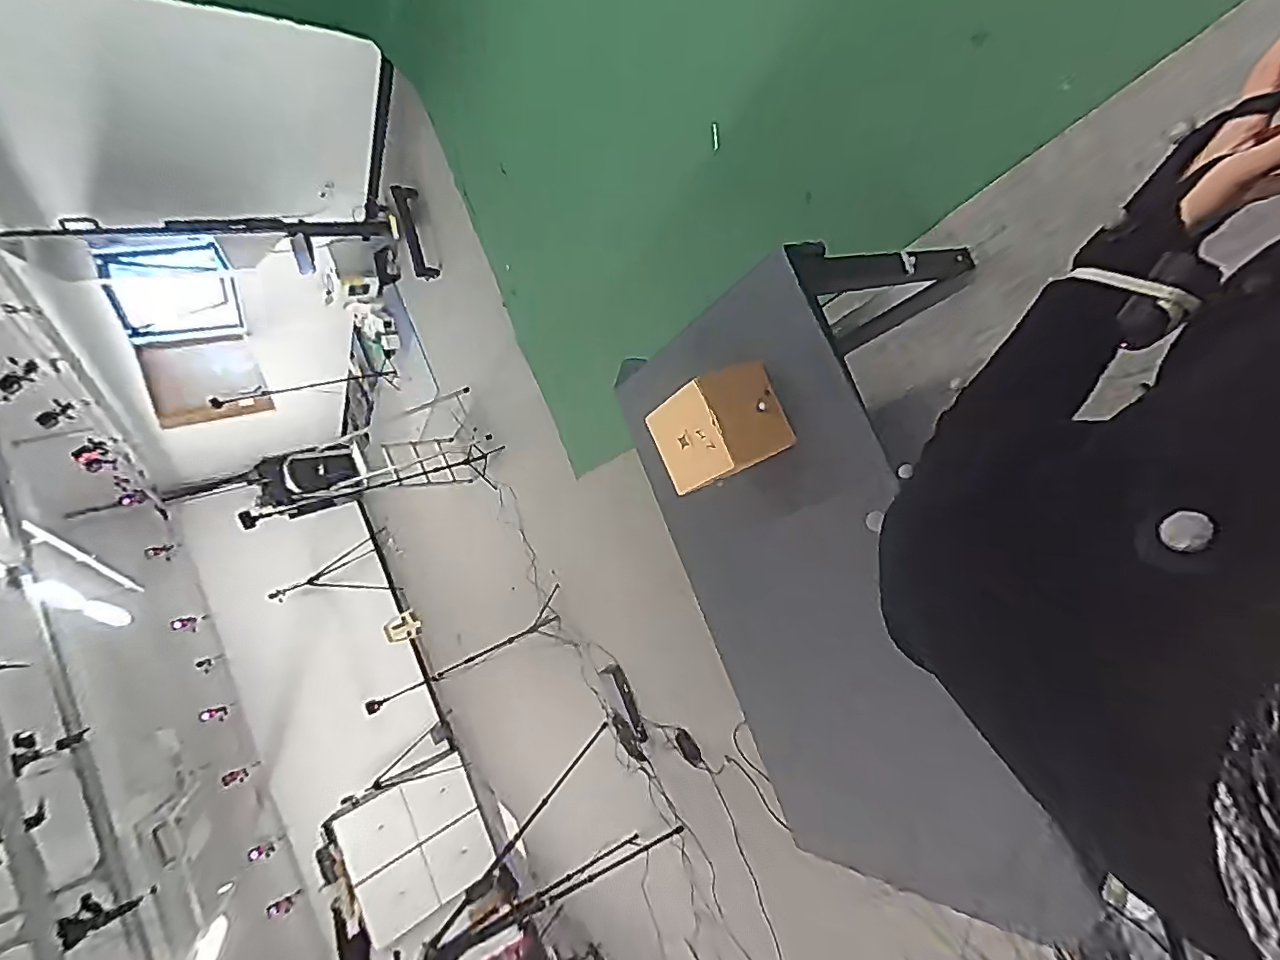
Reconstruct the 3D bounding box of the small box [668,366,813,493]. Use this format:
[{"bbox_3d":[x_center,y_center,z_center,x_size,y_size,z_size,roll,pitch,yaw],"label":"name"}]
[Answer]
[{"bbox_3d":[0.187,-0.095,1.017,0.179,0.176,0.168,-34,78,57],"label":"small box"}]
